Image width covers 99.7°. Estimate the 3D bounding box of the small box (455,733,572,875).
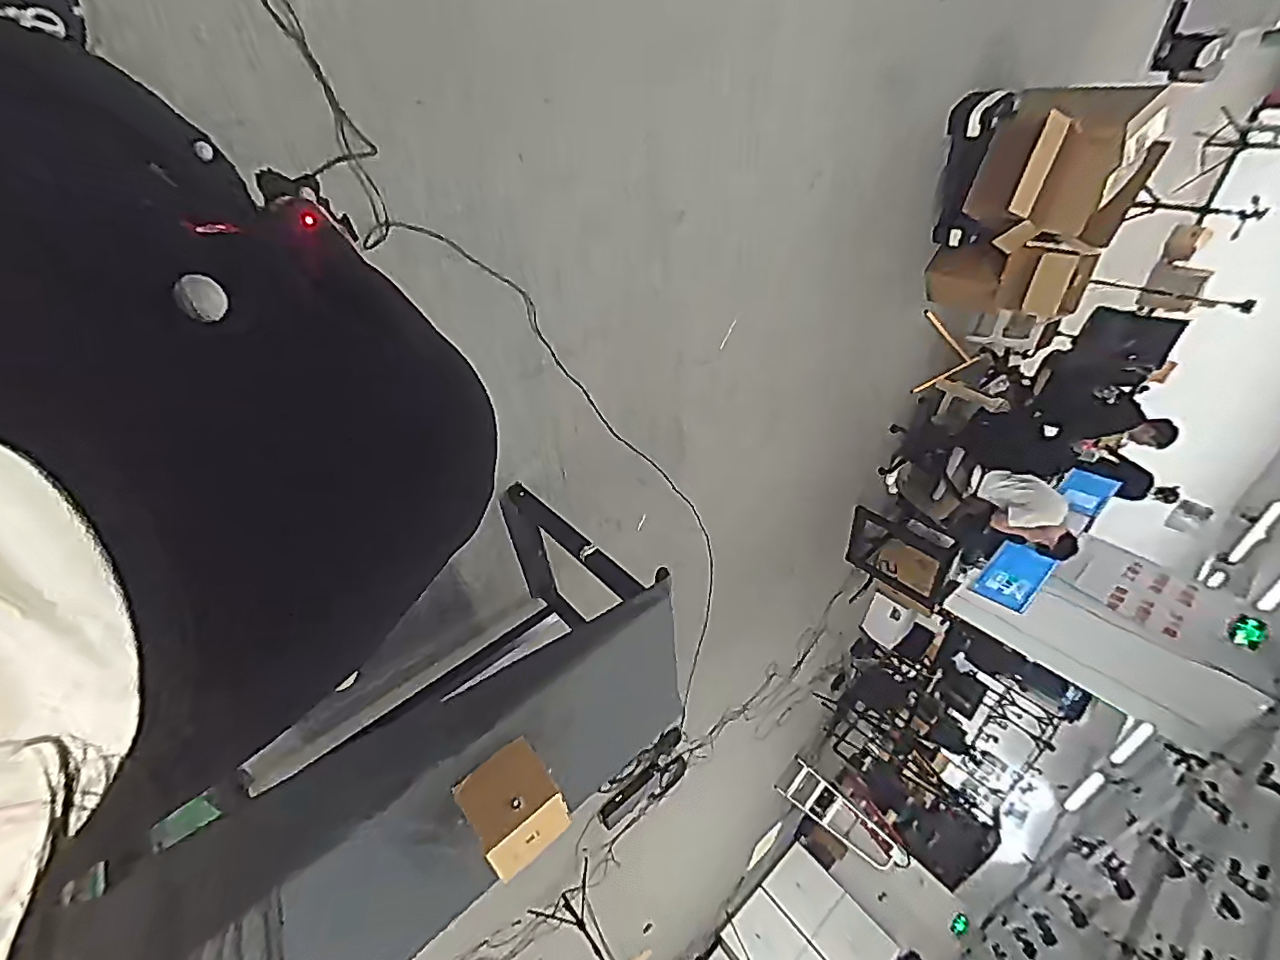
[{"bbox_3d":[-0.276,0.701,1.186,0.179,0.176,0.168,-30,134,-27],"label":"small box"}]
